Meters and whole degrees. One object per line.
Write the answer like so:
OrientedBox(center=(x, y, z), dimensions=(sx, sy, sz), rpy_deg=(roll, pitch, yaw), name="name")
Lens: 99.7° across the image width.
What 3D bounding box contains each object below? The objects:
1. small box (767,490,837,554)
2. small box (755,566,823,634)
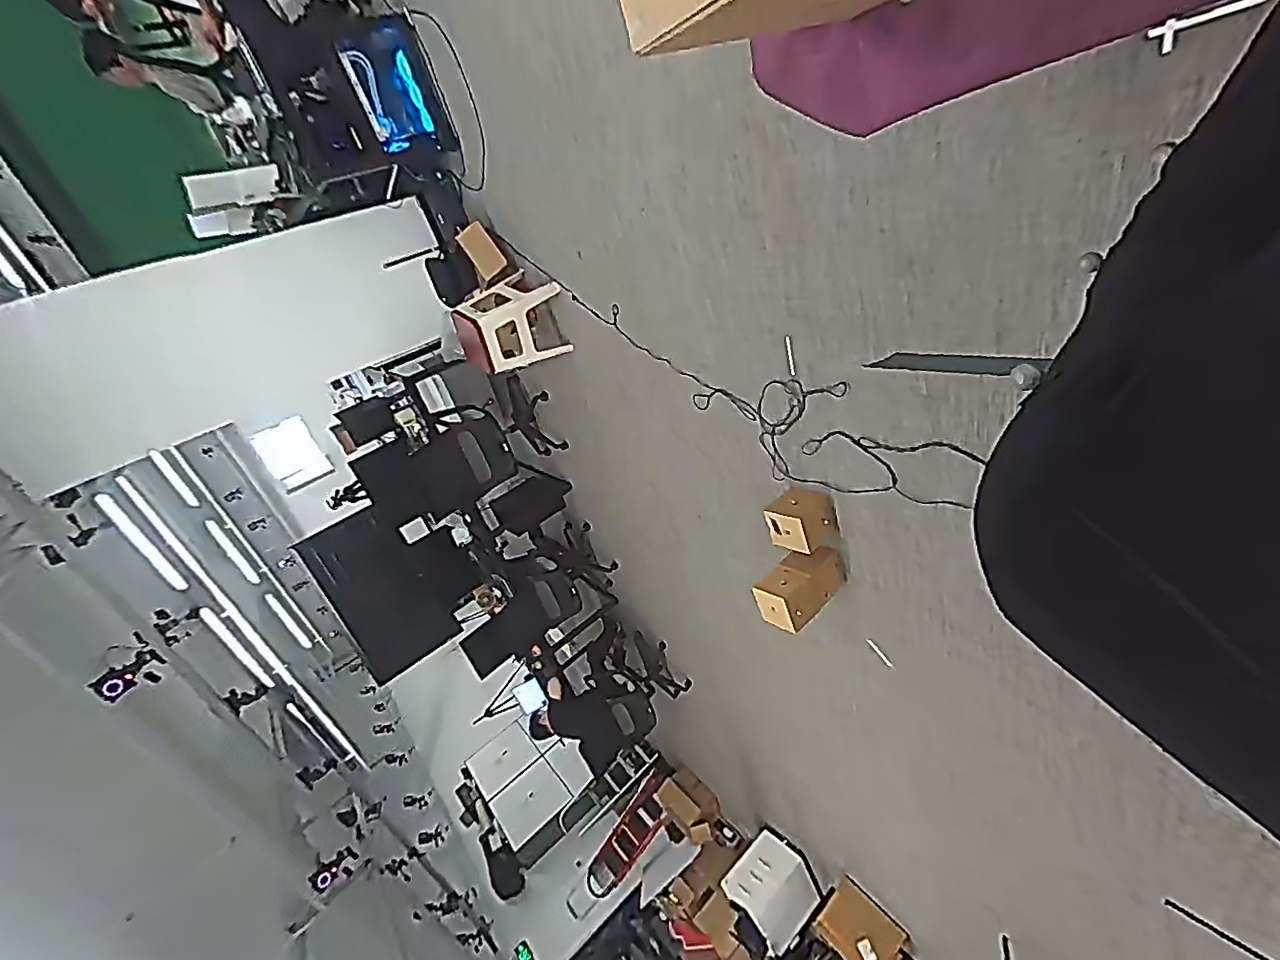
OrientedBox(center=(0.621, 0.153, 2.071), dimensions=(0.179, 0.176, 0.168), rpy_deg=(14, 133, 53), name="small box")
OrientedBox(center=(0.587, 0.463, 2.117), dimensions=(0.168, 0.176, 0.179), rpy_deg=(11, 129, 56), name="small box")
